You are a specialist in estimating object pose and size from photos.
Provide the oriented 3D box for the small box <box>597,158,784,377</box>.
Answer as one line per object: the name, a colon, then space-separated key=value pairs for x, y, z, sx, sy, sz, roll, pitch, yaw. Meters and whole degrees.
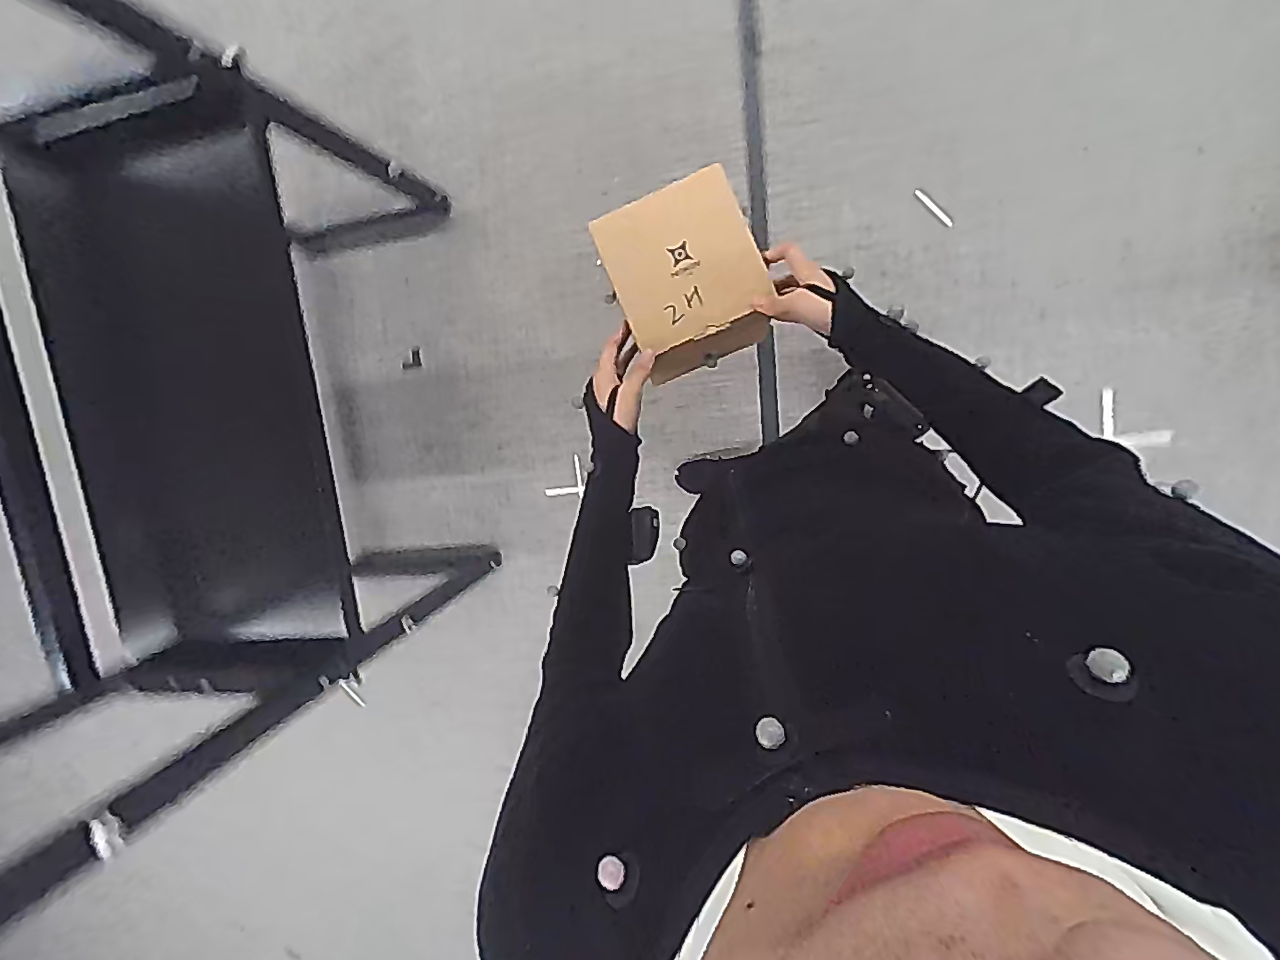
small box: x=0.059 y=-0.250 z=0.682 sx=0.168 sy=0.176 sz=0.179 roll=-22 pitch=89 yaw=4
